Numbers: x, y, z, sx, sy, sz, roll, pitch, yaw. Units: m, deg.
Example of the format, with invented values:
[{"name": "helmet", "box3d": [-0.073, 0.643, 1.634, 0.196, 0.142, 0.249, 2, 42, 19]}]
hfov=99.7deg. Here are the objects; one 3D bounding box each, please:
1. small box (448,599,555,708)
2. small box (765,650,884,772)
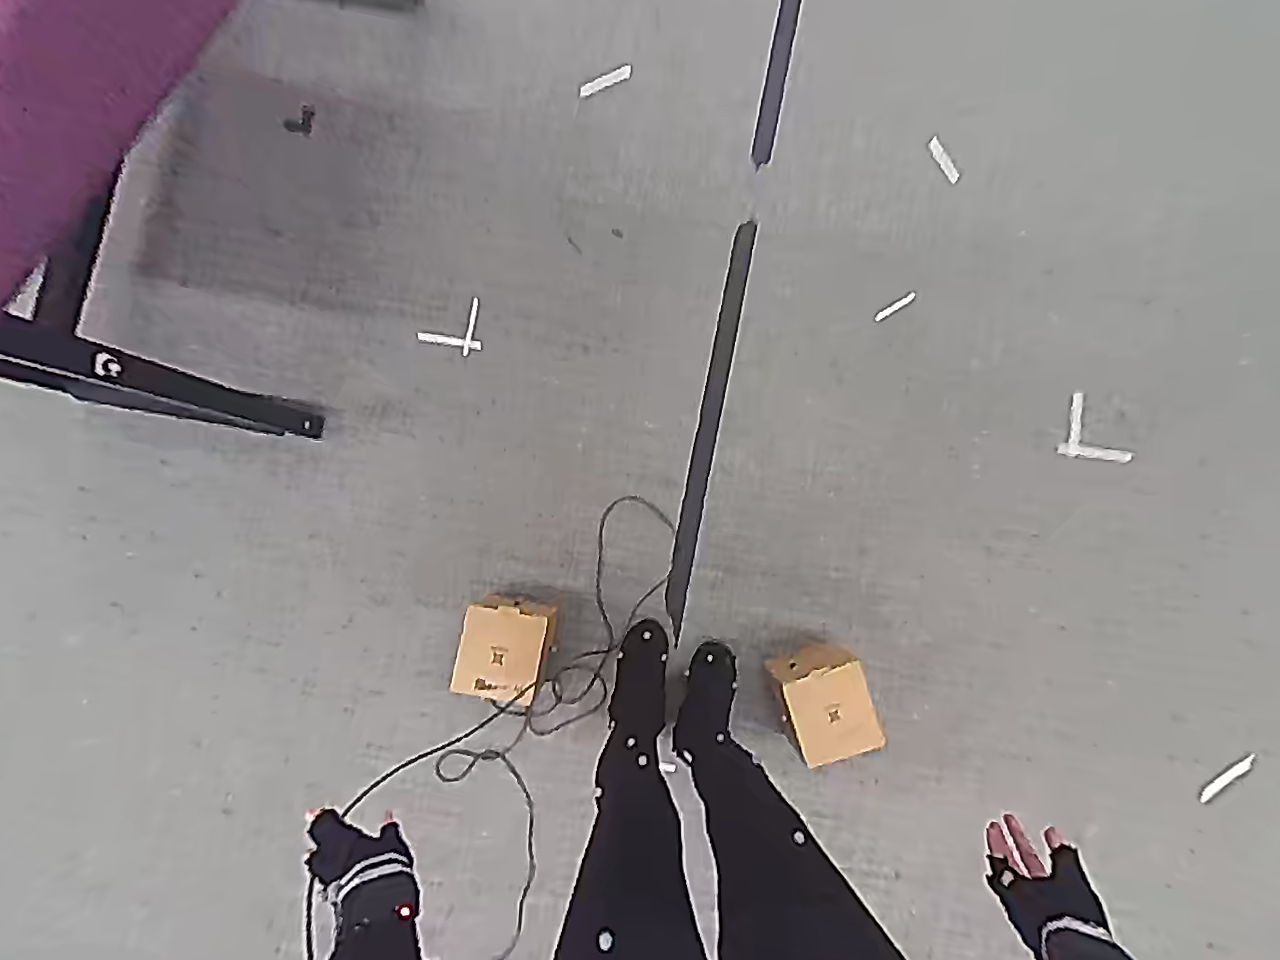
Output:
[{"name": "small box", "box3d": [-0.282, 0.355, 1.144, 0.168, 0.176, 0.179, 11, 83, 1]}, {"name": "small box", "box3d": [0.378, 0.473, 1.144, 0.168, 0.176, 0.179, -17, 86, 0]}]
